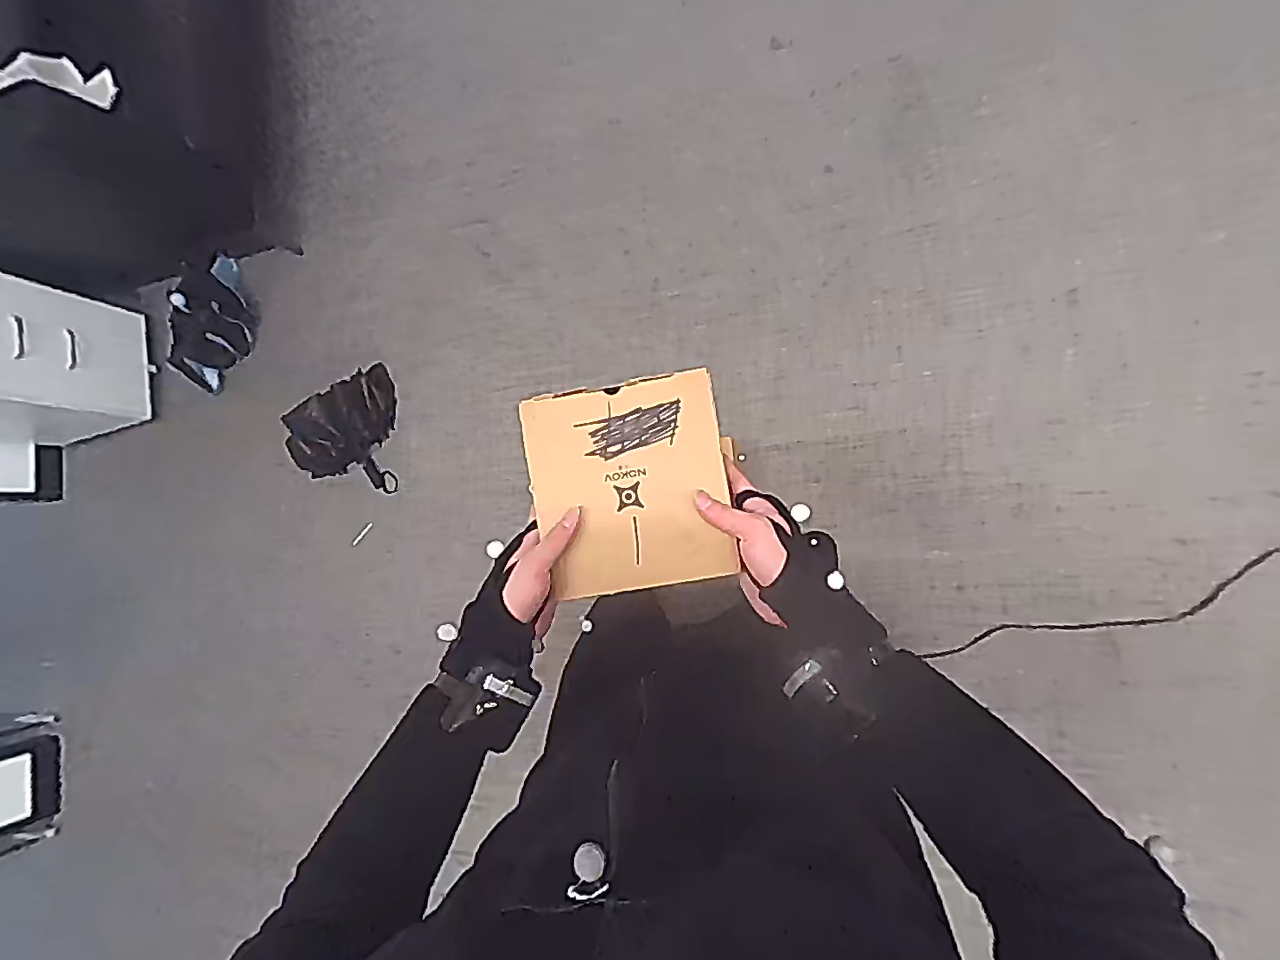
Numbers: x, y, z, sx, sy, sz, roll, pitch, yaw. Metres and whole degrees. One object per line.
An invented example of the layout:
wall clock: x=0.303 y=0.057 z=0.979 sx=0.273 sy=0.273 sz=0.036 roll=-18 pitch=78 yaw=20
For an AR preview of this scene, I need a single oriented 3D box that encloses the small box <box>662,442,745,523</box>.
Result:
small box: x=0.158 y=0.011 z=1.316 sx=0.168 sy=0.176 sz=0.179 roll=-7 pitch=86 yaw=18
